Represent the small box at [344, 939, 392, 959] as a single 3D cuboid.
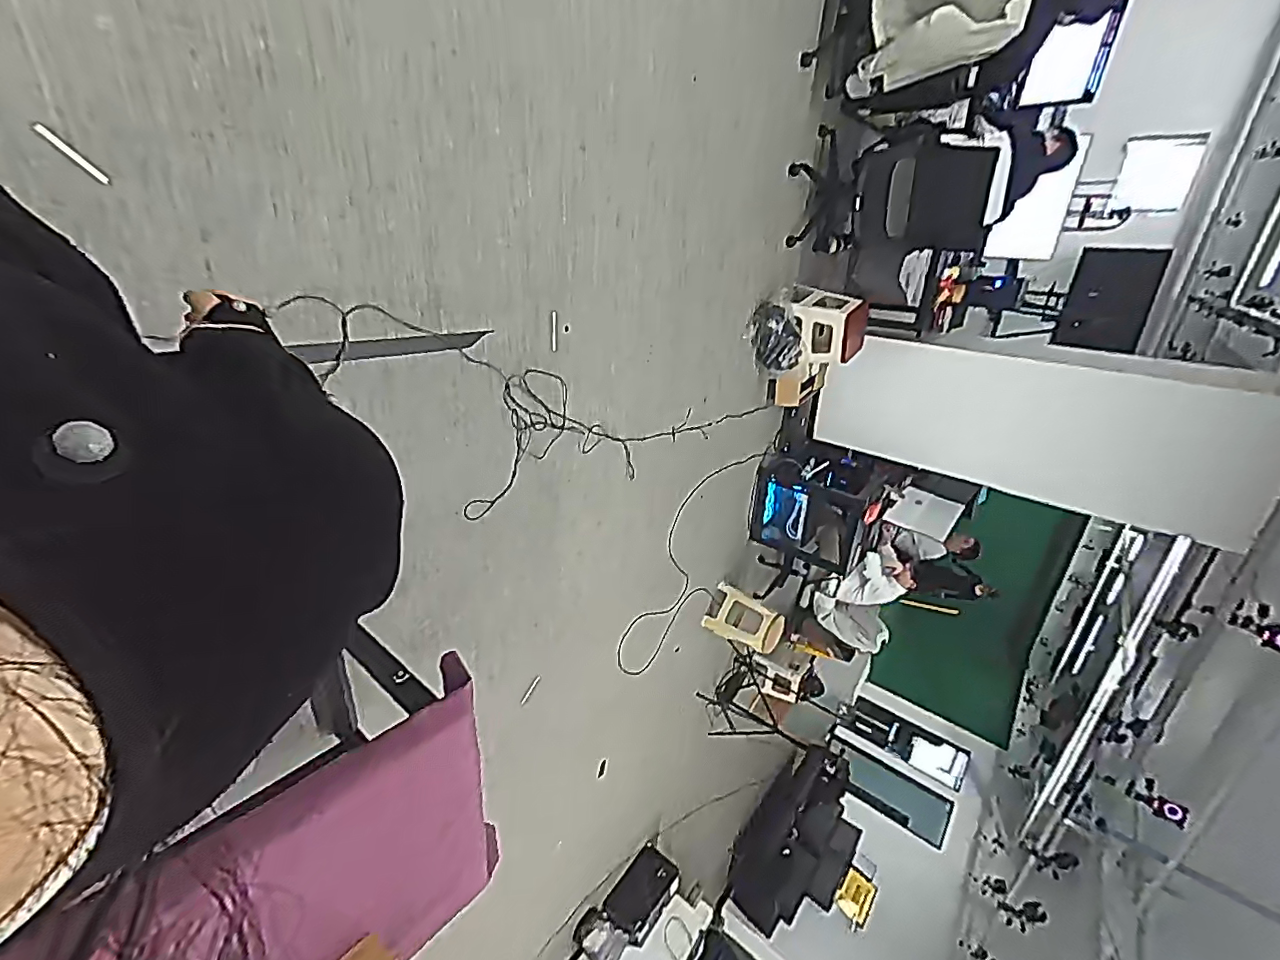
[{"bbox_3d":[-0.542,1.049,1.041,0.168,0.176,0.179,-24,123,-45],"label":"small box"}]
